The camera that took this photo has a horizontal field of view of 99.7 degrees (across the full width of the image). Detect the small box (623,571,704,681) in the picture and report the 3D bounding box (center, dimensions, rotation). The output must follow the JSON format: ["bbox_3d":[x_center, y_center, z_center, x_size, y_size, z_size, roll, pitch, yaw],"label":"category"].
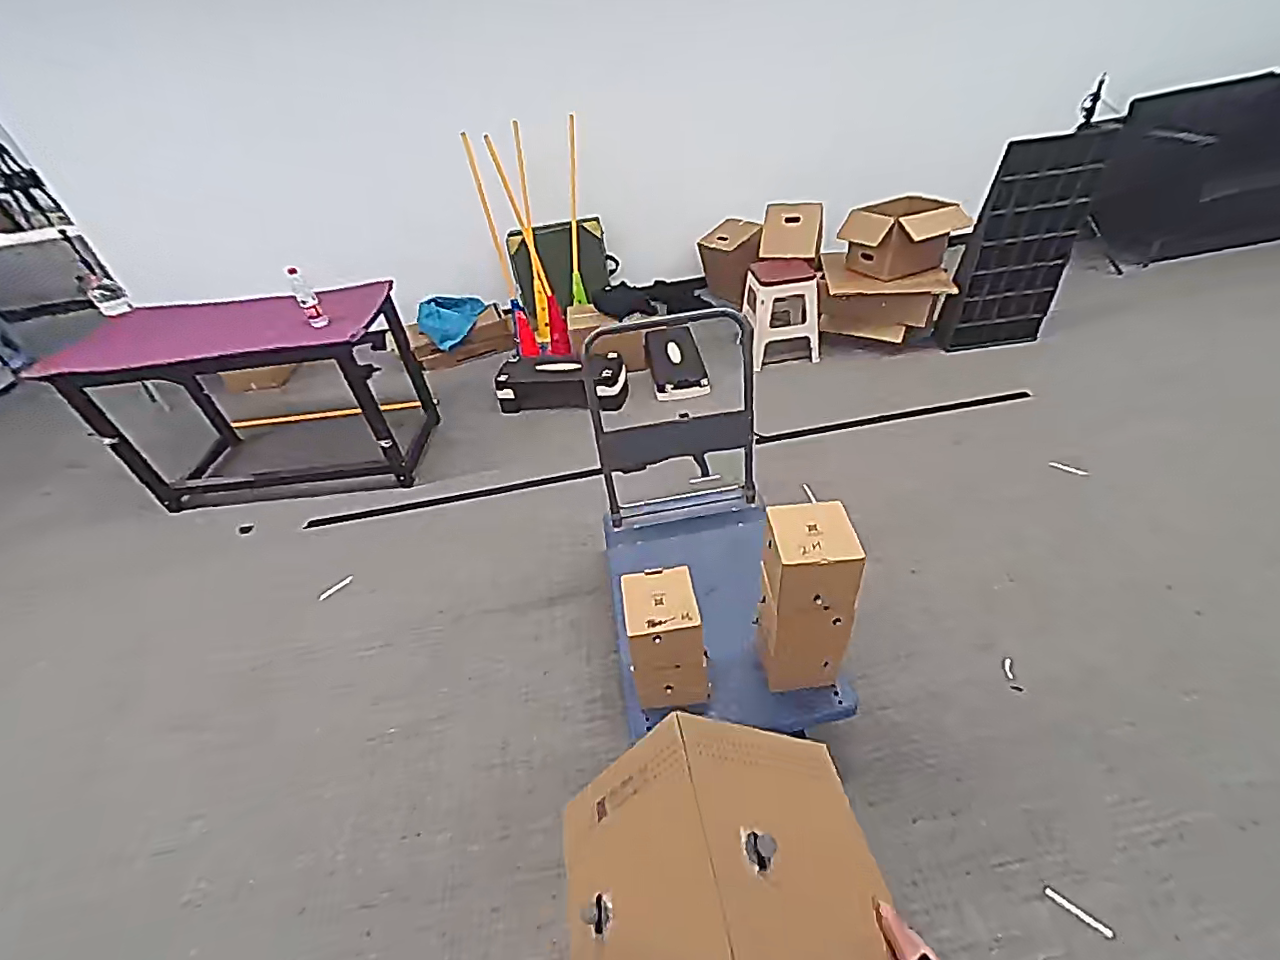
[{"bbox_3d":[0.054,0.344,1.279,0.168,0.176,0.179,-9,38,-1],"label":"small box"}]

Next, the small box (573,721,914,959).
[{"bbox_3d":[0.062,0.309,0.413,0.179,0.168,0.176,25,30,-28],"label":"small box"}]

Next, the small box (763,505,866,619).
[{"bbox_3d":[0.366,0.178,1.171,0.168,0.176,0.179,-5,39,3],"label":"small box"}]

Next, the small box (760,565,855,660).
[{"bbox_3d":[0.383,0.307,1.273,0.179,0.176,0.168,-6,39,1],"label":"small box"}]

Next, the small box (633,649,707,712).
[{"bbox_3d":[0.076,0.470,1.382,0.179,0.176,0.168,-8,39,2],"label":"small box"}]
